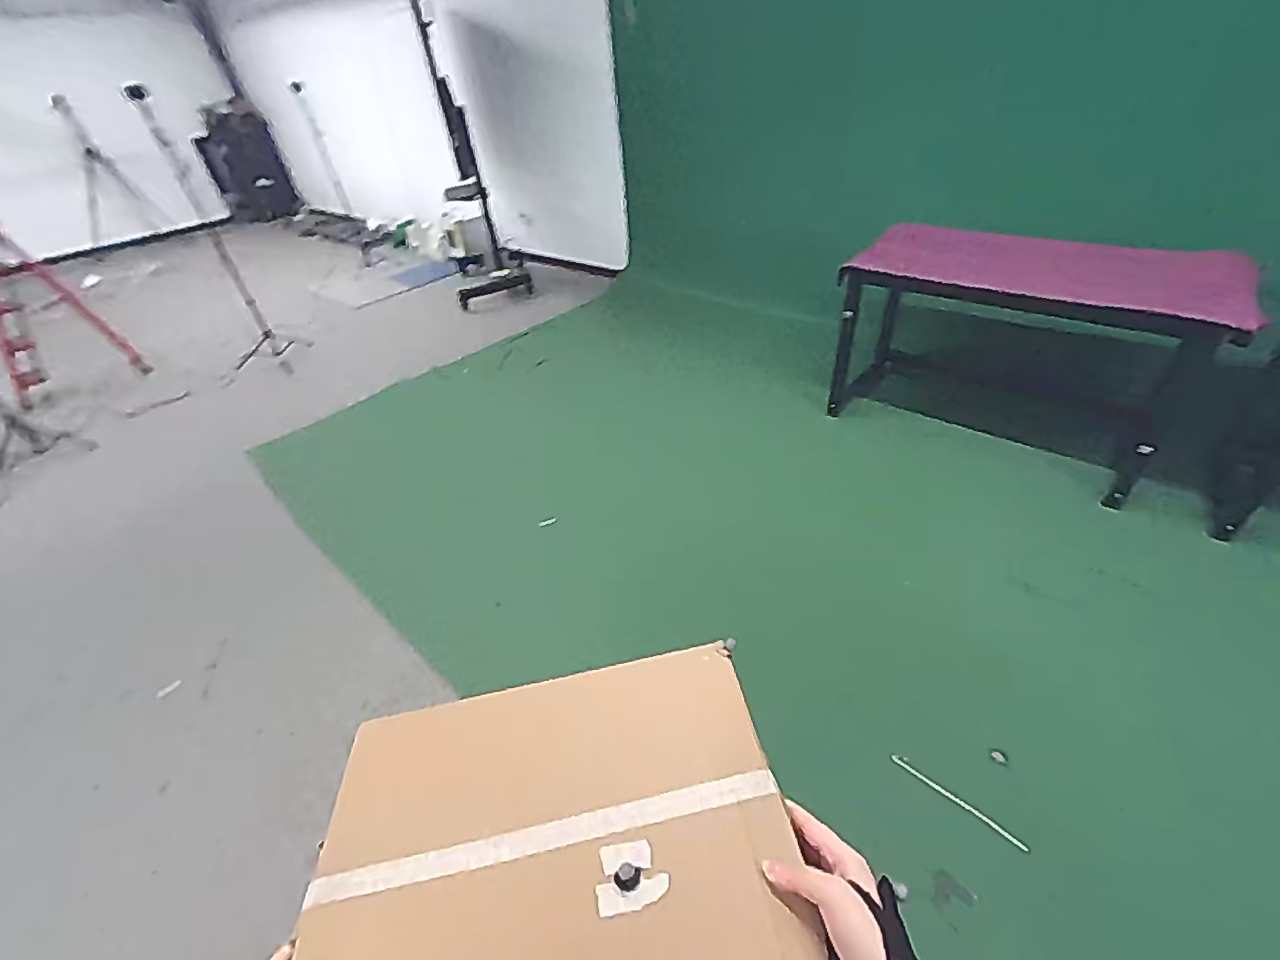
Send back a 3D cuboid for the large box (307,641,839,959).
[{"bbox_3d":[-0.058,0.426,0.566,0.408,0.320,0.320,-11,36,-3],"label":"large box"}]
